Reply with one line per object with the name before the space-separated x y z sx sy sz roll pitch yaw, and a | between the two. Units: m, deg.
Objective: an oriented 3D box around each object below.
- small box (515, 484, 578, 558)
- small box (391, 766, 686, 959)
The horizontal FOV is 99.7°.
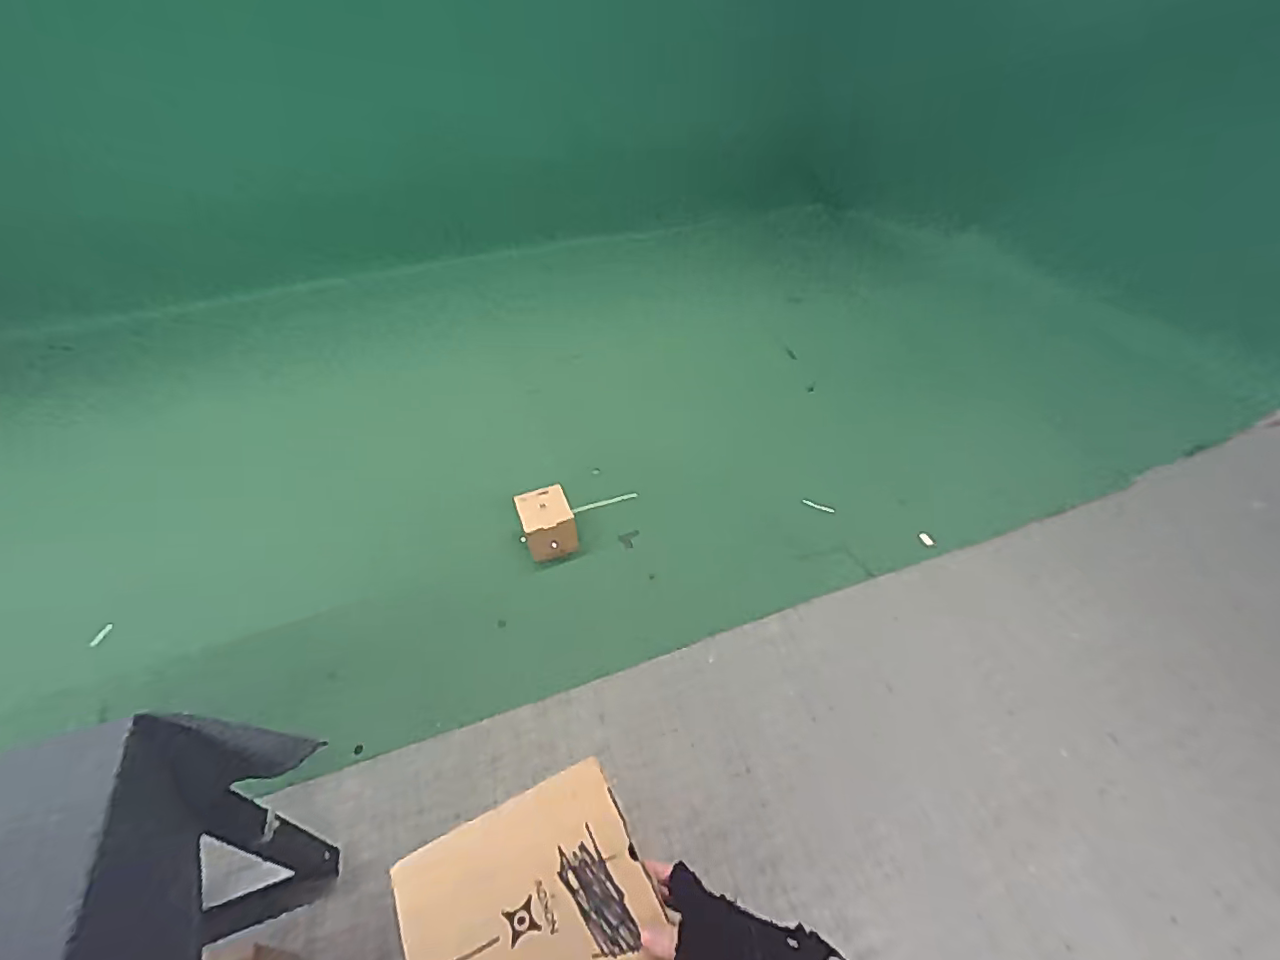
small box | -0.318 0.147 1.859 0.168 0.176 0.179 -16 48 -14
small box | -0.078 0.381 0.443 0.179 0.176 0.168 -20 45 -21
